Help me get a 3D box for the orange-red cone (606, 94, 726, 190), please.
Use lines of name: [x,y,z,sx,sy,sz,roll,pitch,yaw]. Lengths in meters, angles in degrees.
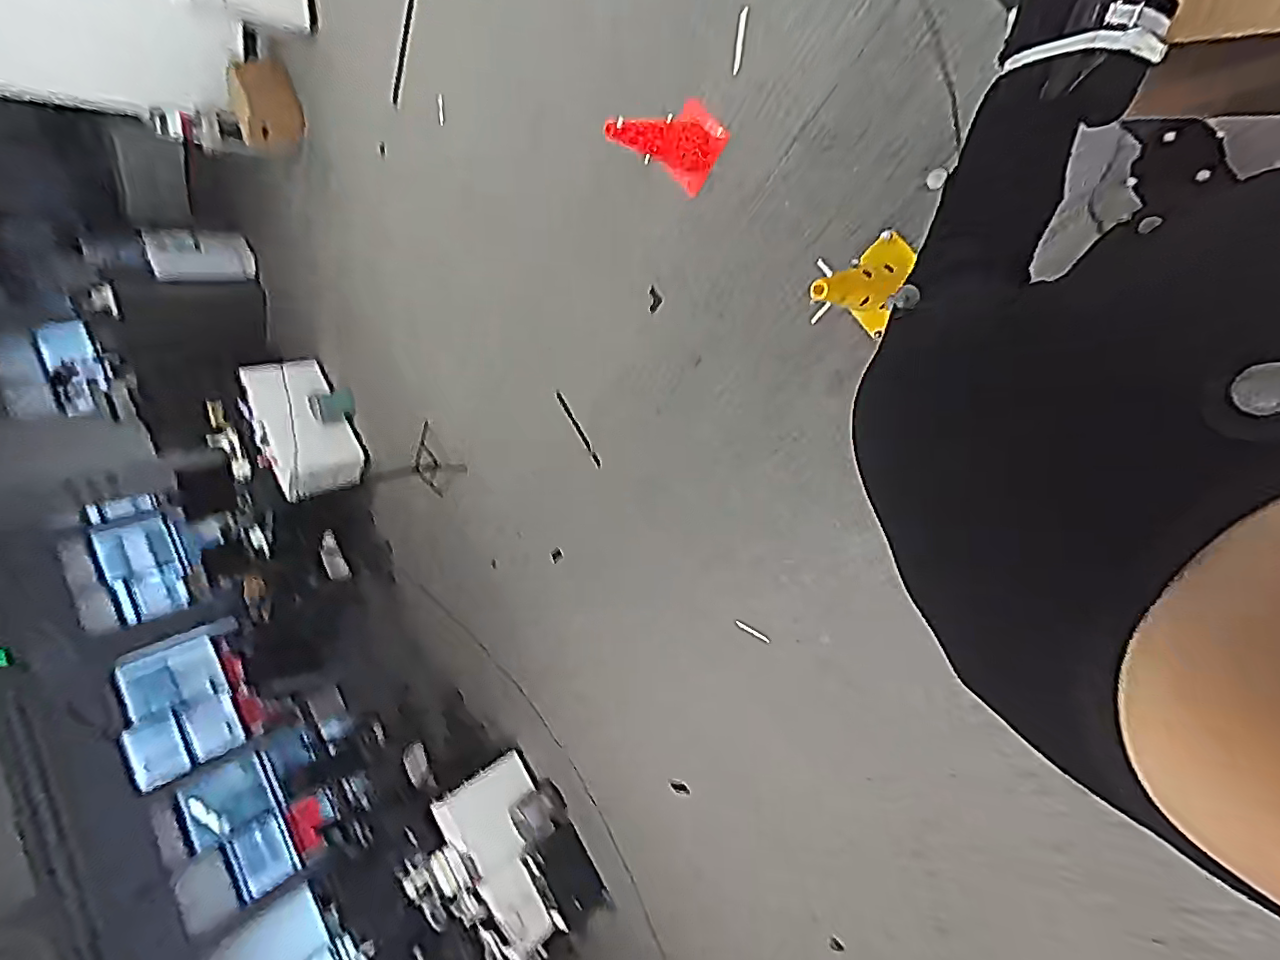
orange-red cone: [0.045,-0.980,1.538,0.199,0.360,0.198,55,137,13]
